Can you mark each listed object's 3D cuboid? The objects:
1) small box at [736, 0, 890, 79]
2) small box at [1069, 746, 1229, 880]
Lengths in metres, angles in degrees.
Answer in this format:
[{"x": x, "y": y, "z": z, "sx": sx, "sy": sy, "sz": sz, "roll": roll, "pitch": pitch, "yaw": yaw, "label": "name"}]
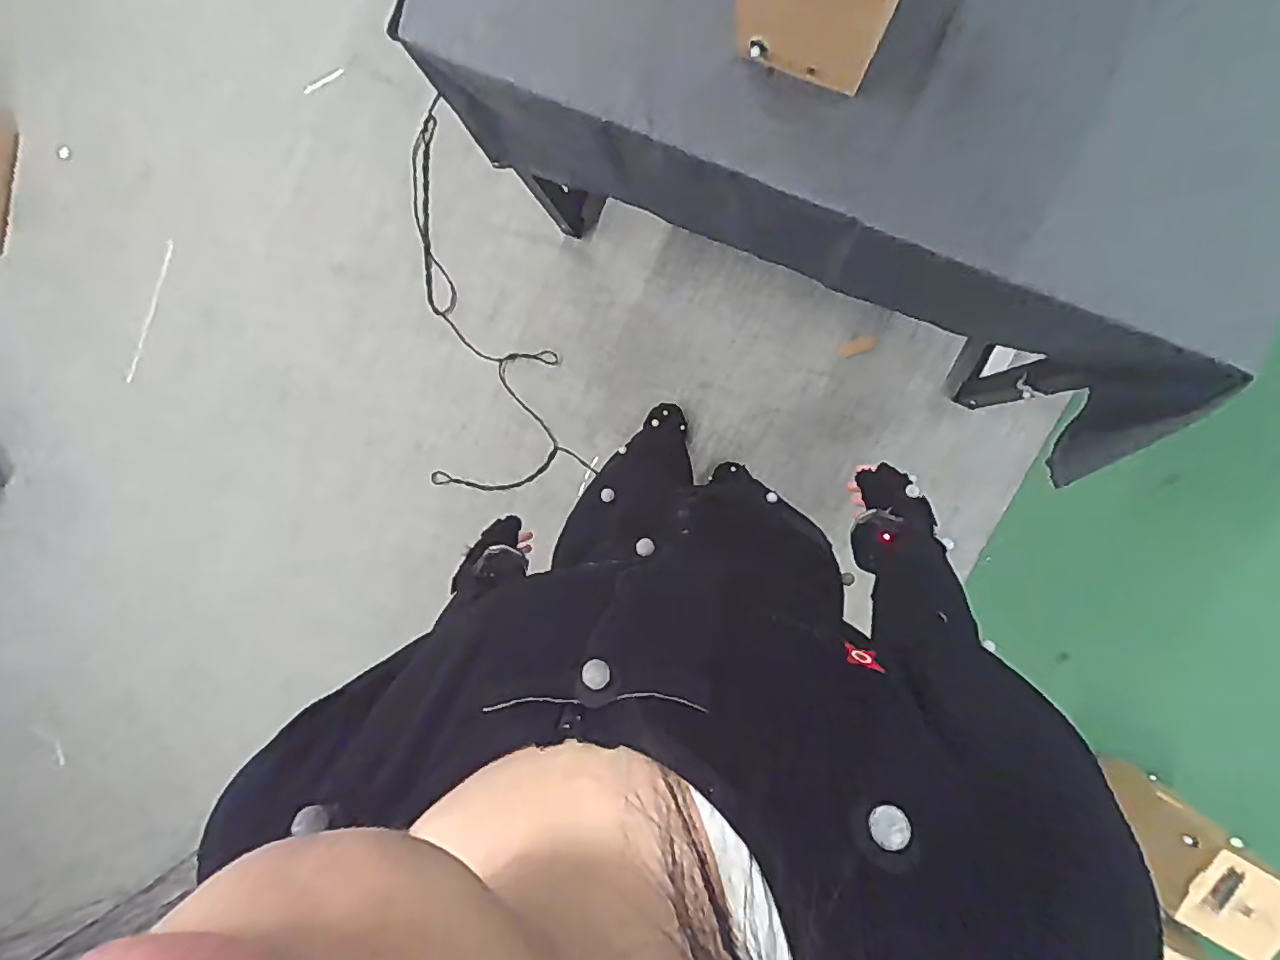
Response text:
[{"x": 0.213, "y": -0.601, "z": 0.599, "sx": 0.168, "sy": 0.176, "sz": 0.179, "roll": 25, "pitch": 96, "yaw": 8, "label": "small box"}, {"x": 1.160, "y": 0.755, "z": 1.253, "sx": 0.179, "sy": 0.176, "sz": 0.168, "roll": 31, "pitch": 98, "yaw": 7, "label": "small box"}]
